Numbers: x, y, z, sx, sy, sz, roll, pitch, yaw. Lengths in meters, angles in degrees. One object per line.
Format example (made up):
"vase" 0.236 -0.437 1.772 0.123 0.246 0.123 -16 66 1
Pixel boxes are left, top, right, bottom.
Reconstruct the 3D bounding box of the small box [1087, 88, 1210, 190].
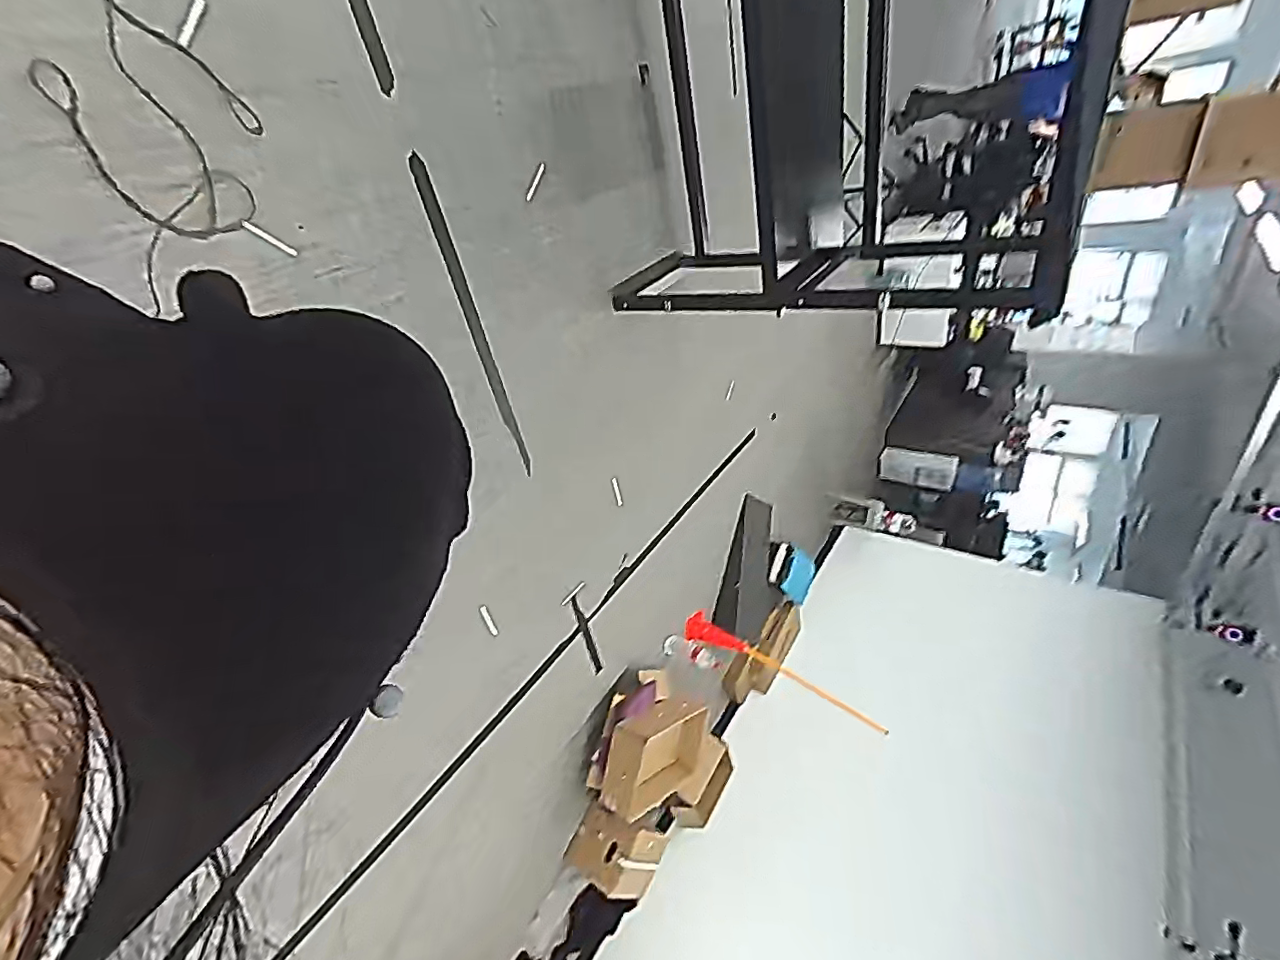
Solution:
"small box" 1.123 -0.759 1.209 0.179 0.176 0.168 -41 131 -42

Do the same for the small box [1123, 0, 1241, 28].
"small box" 1.062 -1.003 1.044 0.179 0.176 0.168 -46 134 -39

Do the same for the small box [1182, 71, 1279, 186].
"small box" 1.234 -0.713 1.096 0.179 0.176 0.168 -47 136 -37
